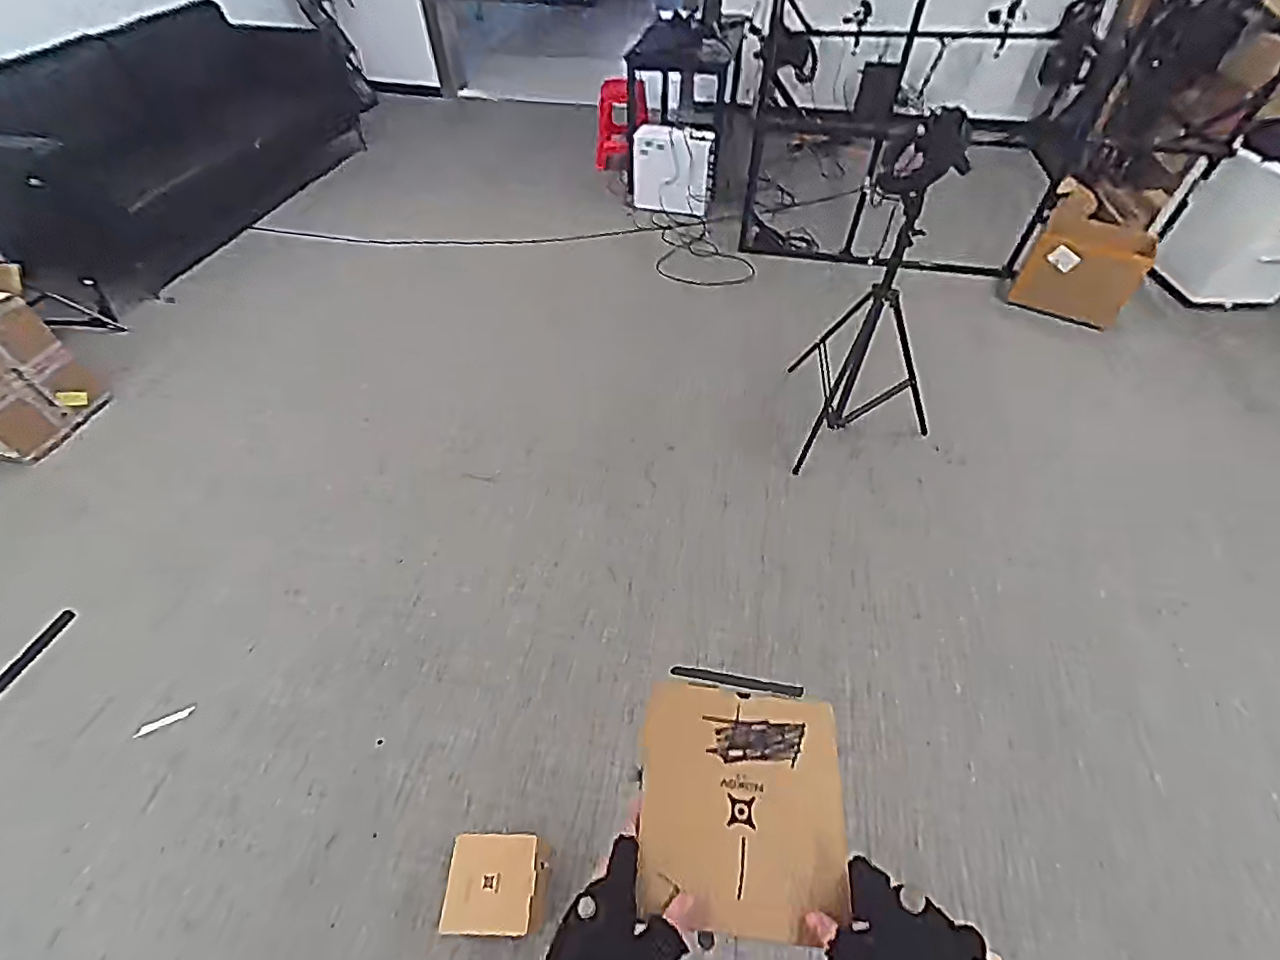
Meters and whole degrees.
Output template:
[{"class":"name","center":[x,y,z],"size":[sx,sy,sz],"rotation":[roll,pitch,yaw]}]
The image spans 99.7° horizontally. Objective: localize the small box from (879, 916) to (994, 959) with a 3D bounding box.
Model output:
[{"class":"small box","center":[0.563,0.977,1.029],"size":[0.168,0.176,0.179],"rotation":[21,53,17]}]

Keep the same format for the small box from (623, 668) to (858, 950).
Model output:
[{"class":"small box","center":[0.077,0.294,0.493],"size":[0.168,0.176,0.179],"rotation":[8,55,1]}]

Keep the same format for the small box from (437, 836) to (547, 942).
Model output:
[{"class":"small box","center":[-0.298,0.860,1.136],"size":[0.179,0.176,0.168],"rotation":[-1,48,1]}]
